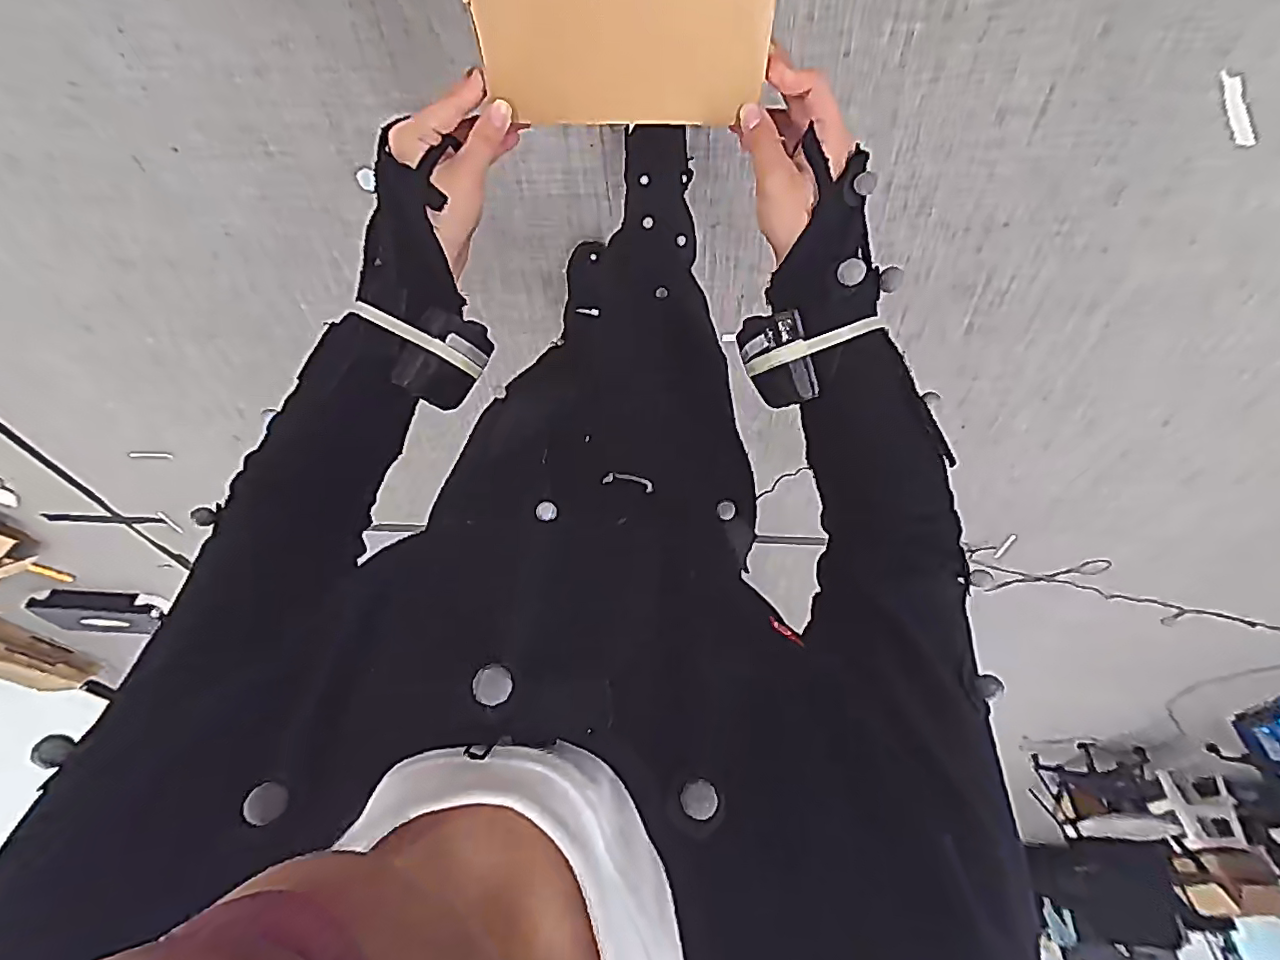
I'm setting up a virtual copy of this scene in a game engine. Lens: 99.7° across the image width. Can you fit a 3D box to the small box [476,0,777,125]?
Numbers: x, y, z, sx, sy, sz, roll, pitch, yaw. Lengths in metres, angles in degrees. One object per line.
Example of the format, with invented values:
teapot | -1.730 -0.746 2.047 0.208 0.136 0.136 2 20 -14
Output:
small box | -0.004 -0.350 0.341 0.179 0.176 0.168 3 143 4
